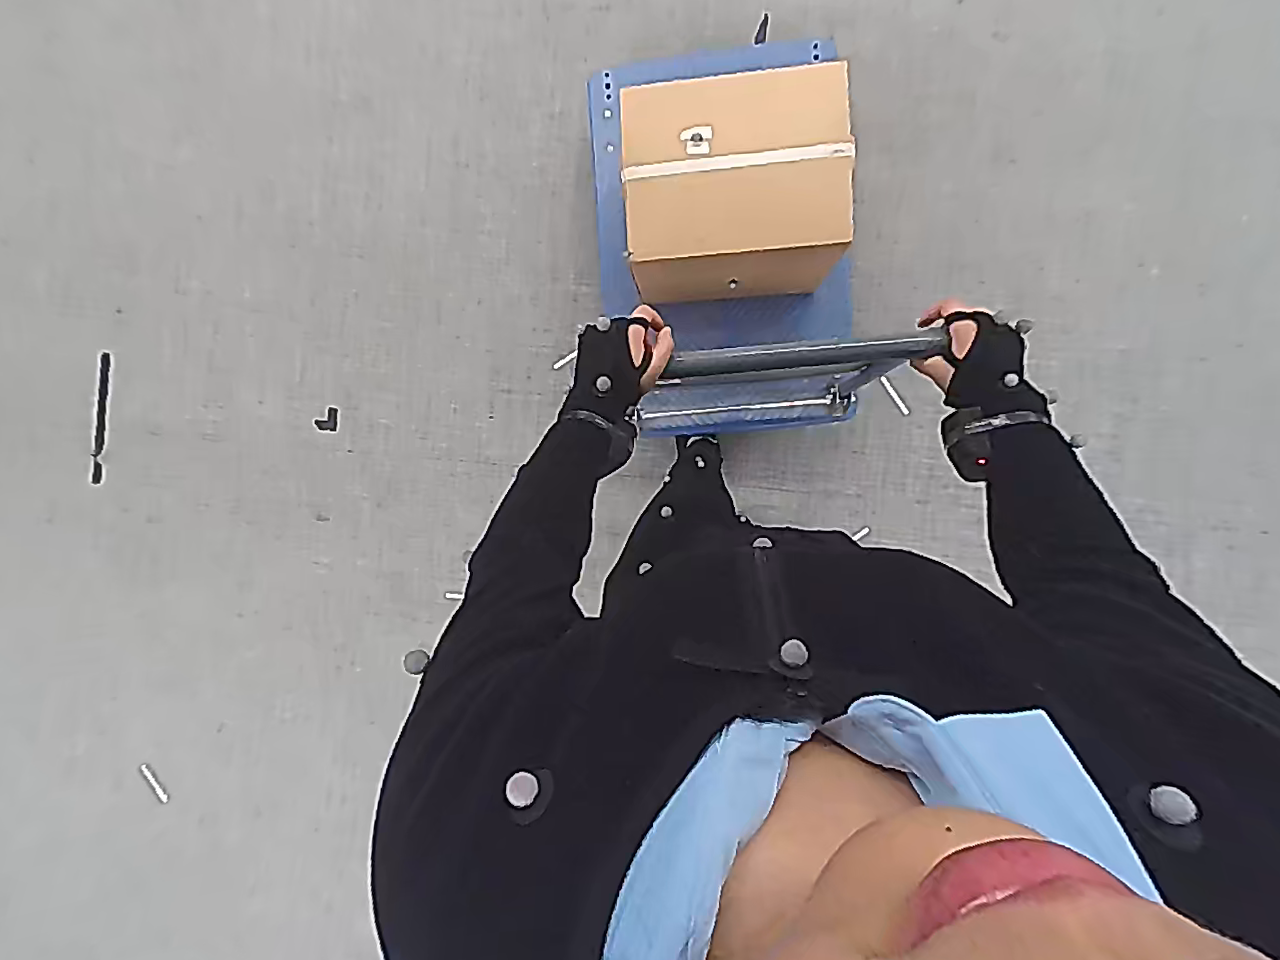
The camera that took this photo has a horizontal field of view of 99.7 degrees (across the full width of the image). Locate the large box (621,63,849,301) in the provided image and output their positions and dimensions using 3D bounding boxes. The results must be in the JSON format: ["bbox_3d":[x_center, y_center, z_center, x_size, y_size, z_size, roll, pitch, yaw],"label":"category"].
[{"bbox_3d":[0.189,-0.586,1.138,0.408,0.320,0.320,-3,92,7],"label":"large box"}]
